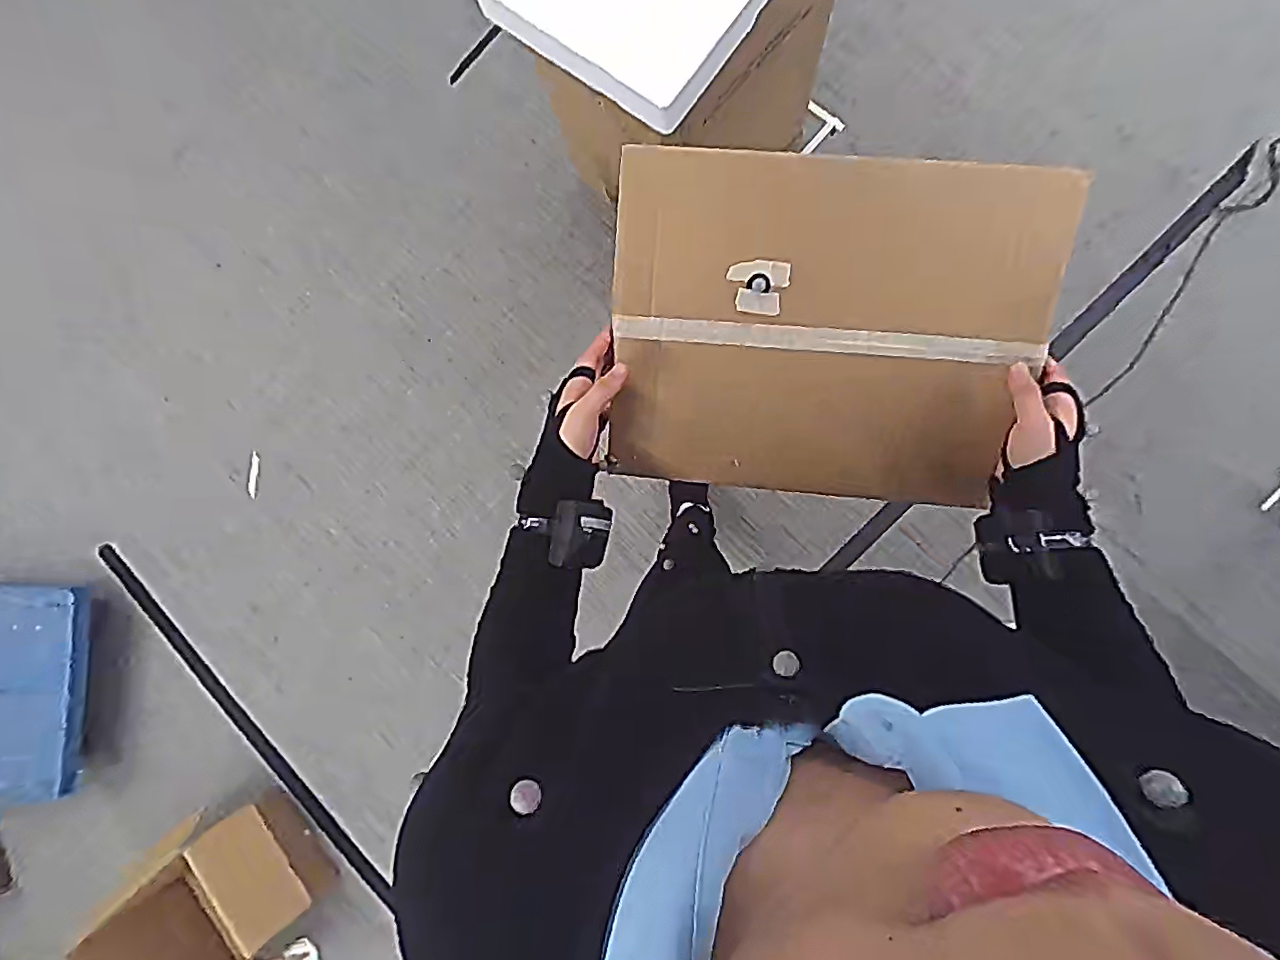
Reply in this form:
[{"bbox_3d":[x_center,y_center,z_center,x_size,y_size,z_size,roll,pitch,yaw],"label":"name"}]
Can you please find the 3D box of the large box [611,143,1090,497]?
[{"bbox_3d":[0.191,-0.190,0.656,0.408,0.320,0.320,6,108,5],"label":"large box"}]
